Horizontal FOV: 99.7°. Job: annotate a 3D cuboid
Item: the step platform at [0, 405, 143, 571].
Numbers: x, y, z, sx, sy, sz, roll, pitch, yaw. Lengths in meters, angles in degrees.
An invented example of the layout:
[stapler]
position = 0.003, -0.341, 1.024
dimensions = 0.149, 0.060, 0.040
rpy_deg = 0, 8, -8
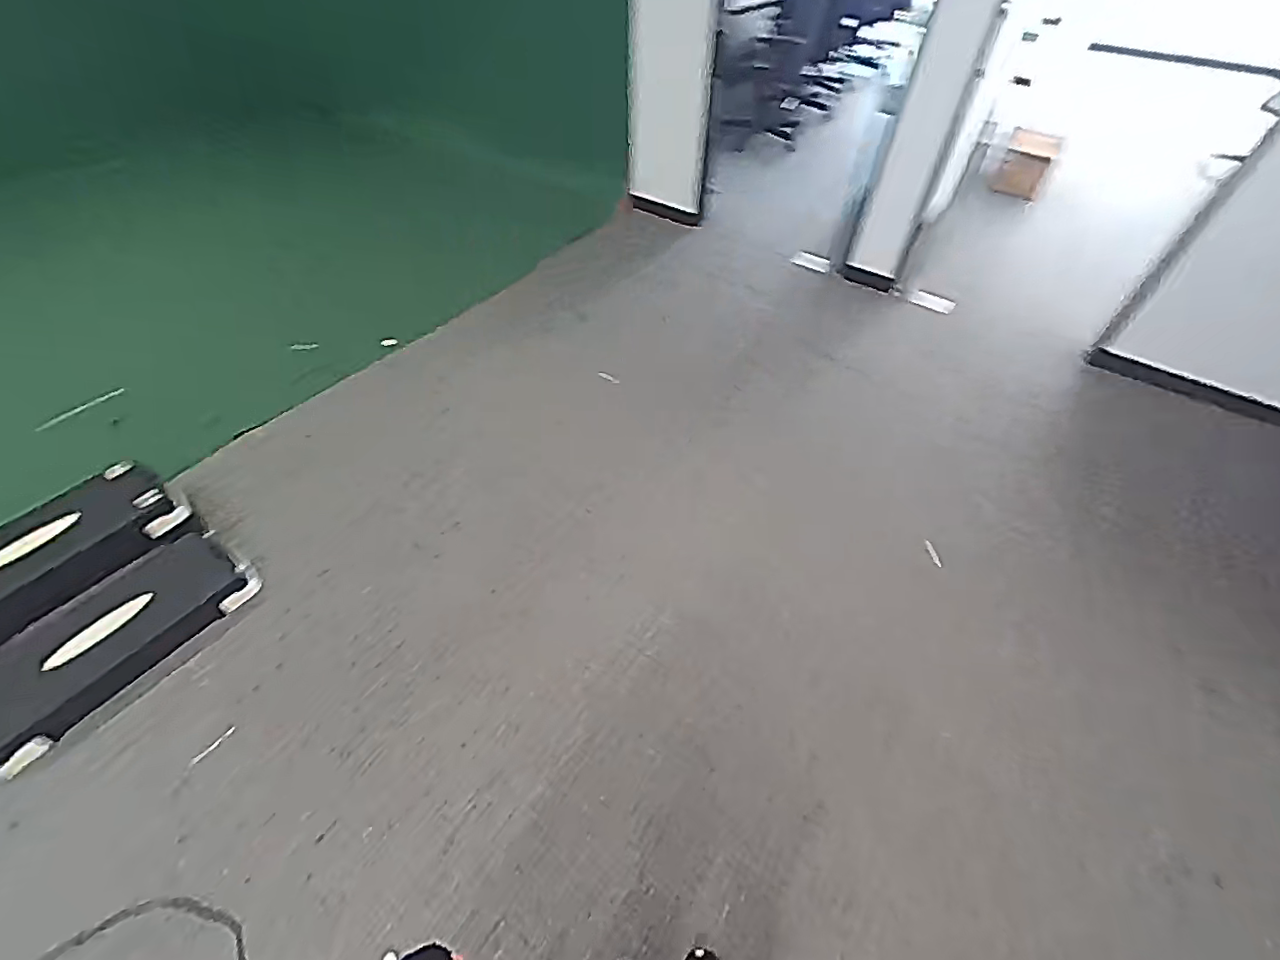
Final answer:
[step platform]
position = -1.759, 0.095, 1.420
dimensions = 0.286, 0.204, 0.684
rpy_deg = 31, 56, 21
